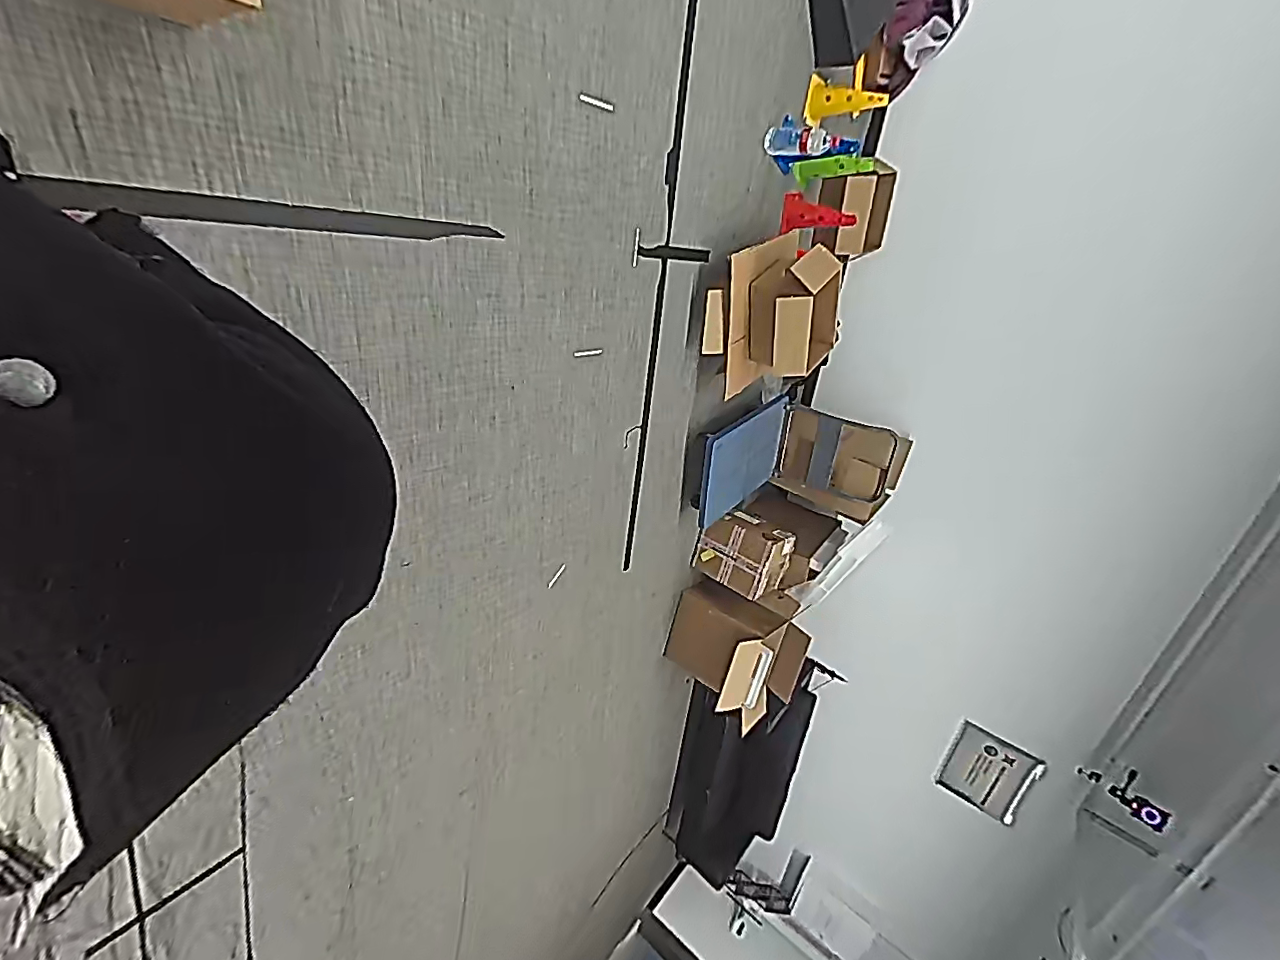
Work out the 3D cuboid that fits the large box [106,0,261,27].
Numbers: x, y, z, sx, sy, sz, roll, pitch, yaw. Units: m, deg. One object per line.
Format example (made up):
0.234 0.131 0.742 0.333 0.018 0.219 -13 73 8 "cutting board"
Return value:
-0.806 -0.871 0.708 0.408 0.320 0.320 -21 127 -49 "large box"
